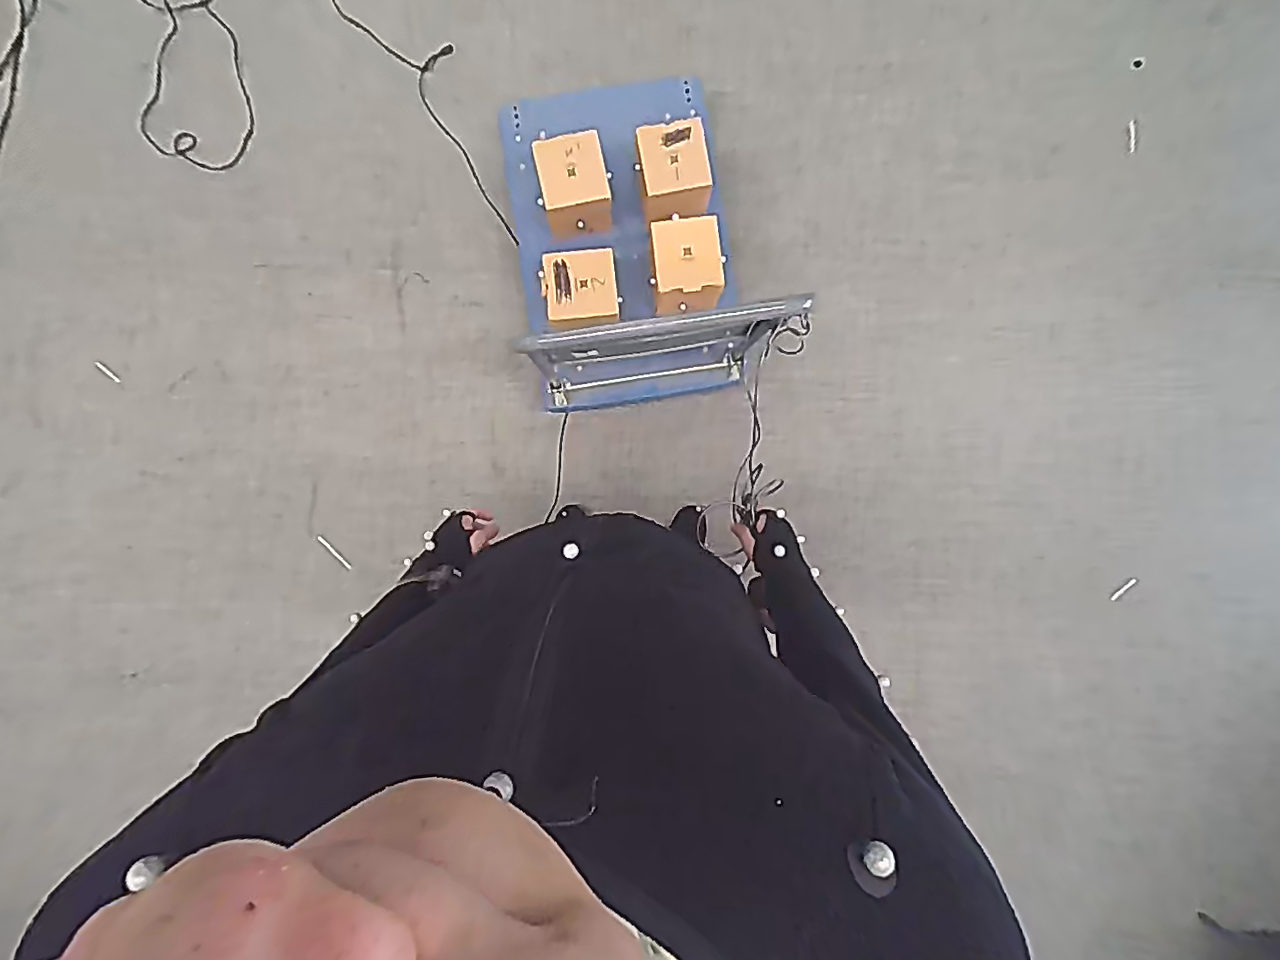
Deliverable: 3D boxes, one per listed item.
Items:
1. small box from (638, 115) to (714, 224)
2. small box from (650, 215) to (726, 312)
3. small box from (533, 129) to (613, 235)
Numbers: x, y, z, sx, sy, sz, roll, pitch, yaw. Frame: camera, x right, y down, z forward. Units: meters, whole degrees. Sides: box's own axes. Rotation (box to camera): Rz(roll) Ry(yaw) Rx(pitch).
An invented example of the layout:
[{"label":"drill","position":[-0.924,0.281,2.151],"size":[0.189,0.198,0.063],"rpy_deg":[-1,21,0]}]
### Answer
[{"label":"small box","position":[0.087,-0.794,1.401],"size":[0.168,0.176,0.179],"rpy_deg":[-11,90,0]},{"label":"small box","position":[0.118,-0.554,1.400],"size":[0.168,0.176,0.179],"rpy_deg":[-7,90,-1]},{"label":"small box","position":[-0.167,-0.757,1.399],"size":[0.168,0.176,0.179],"rpy_deg":[-12,89,-1]}]
